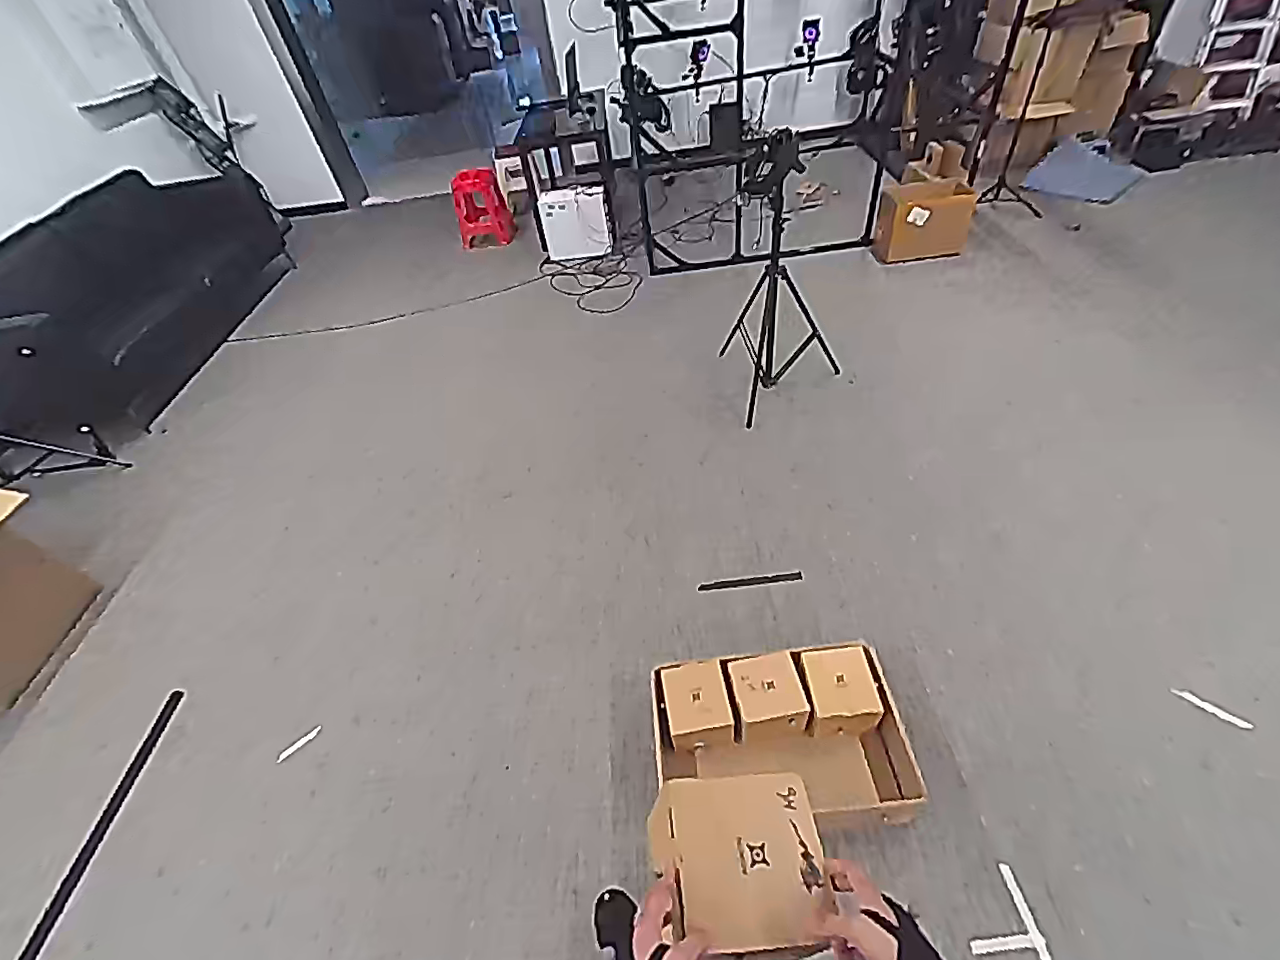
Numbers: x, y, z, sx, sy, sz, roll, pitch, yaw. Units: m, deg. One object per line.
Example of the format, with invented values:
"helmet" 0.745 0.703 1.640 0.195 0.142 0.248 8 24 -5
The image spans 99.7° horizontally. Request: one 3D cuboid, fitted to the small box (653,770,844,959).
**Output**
"small box" 0.112 0.472 0.656 0.179 0.176 0.168 2 44 -8
